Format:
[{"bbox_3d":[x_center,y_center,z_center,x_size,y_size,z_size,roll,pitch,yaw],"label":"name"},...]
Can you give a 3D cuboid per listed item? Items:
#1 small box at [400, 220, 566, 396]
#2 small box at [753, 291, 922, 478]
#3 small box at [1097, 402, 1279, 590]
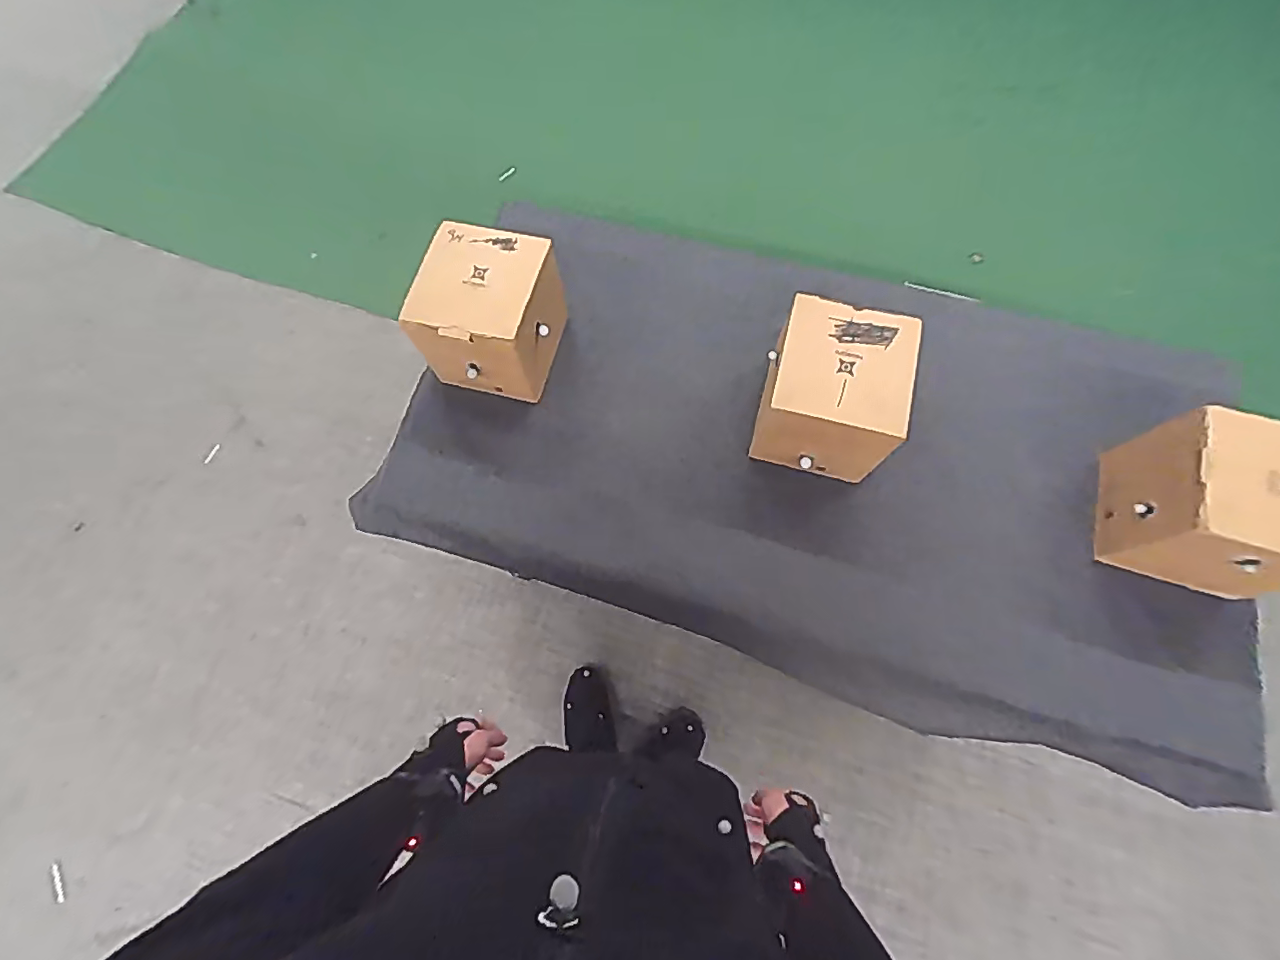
[{"bbox_3d":[-0.219,-0.248,0.811,0.168,0.176,0.179,13,72,6],"label":"small box"},{"bbox_3d":[0.262,-0.124,0.749,0.168,0.176,0.179,14,73,7],"label":"small box"},{"bbox_3d":[0.725,0.030,0.677,0.179,0.176,0.168,18,73,7],"label":"small box"}]
